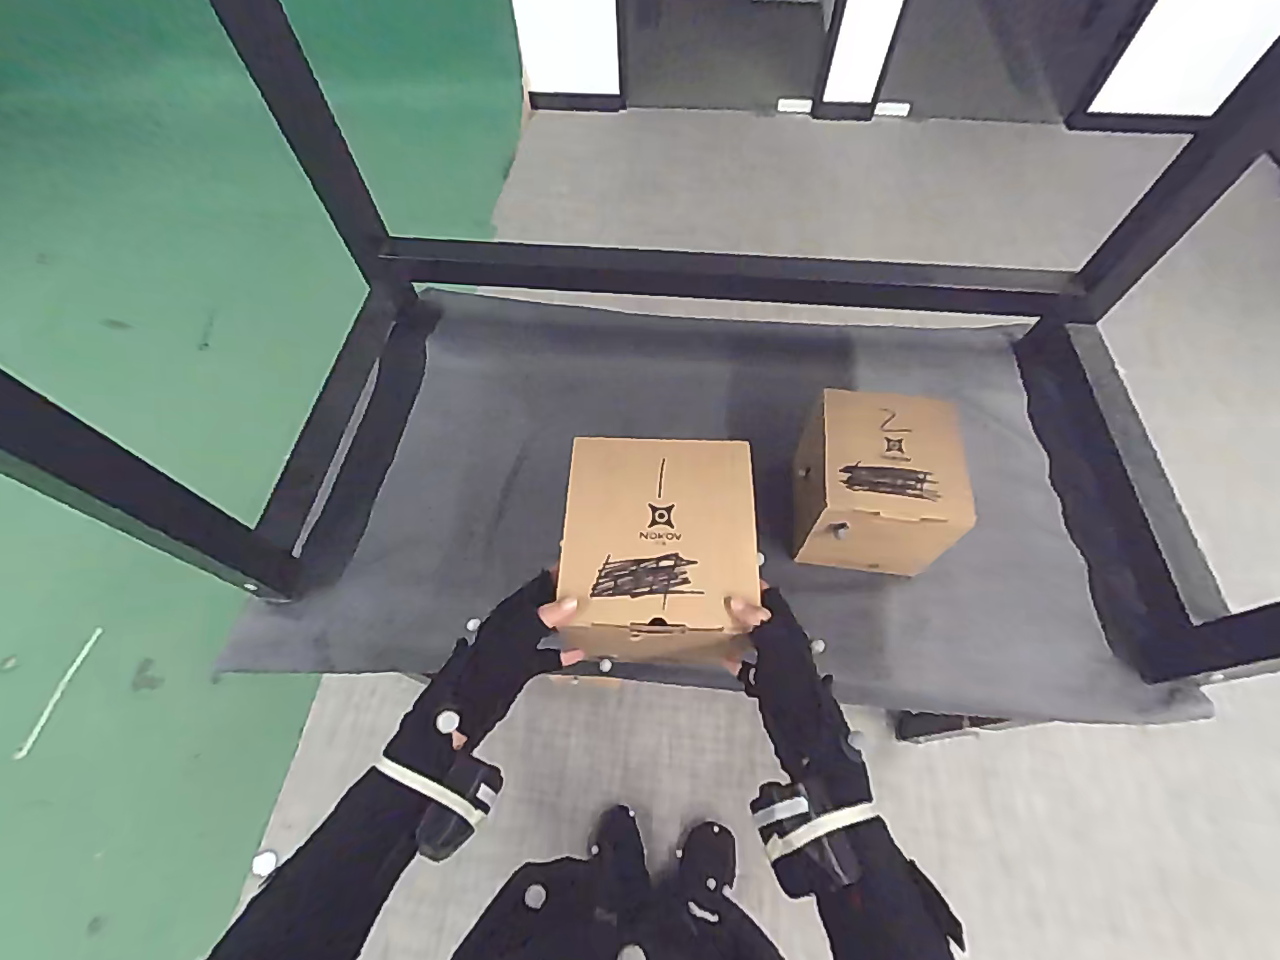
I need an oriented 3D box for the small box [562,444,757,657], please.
[{"bbox_3d":[0.022,0.079,0.552,0.168,0.176,0.179,1,62,2],"label":"small box"}]
